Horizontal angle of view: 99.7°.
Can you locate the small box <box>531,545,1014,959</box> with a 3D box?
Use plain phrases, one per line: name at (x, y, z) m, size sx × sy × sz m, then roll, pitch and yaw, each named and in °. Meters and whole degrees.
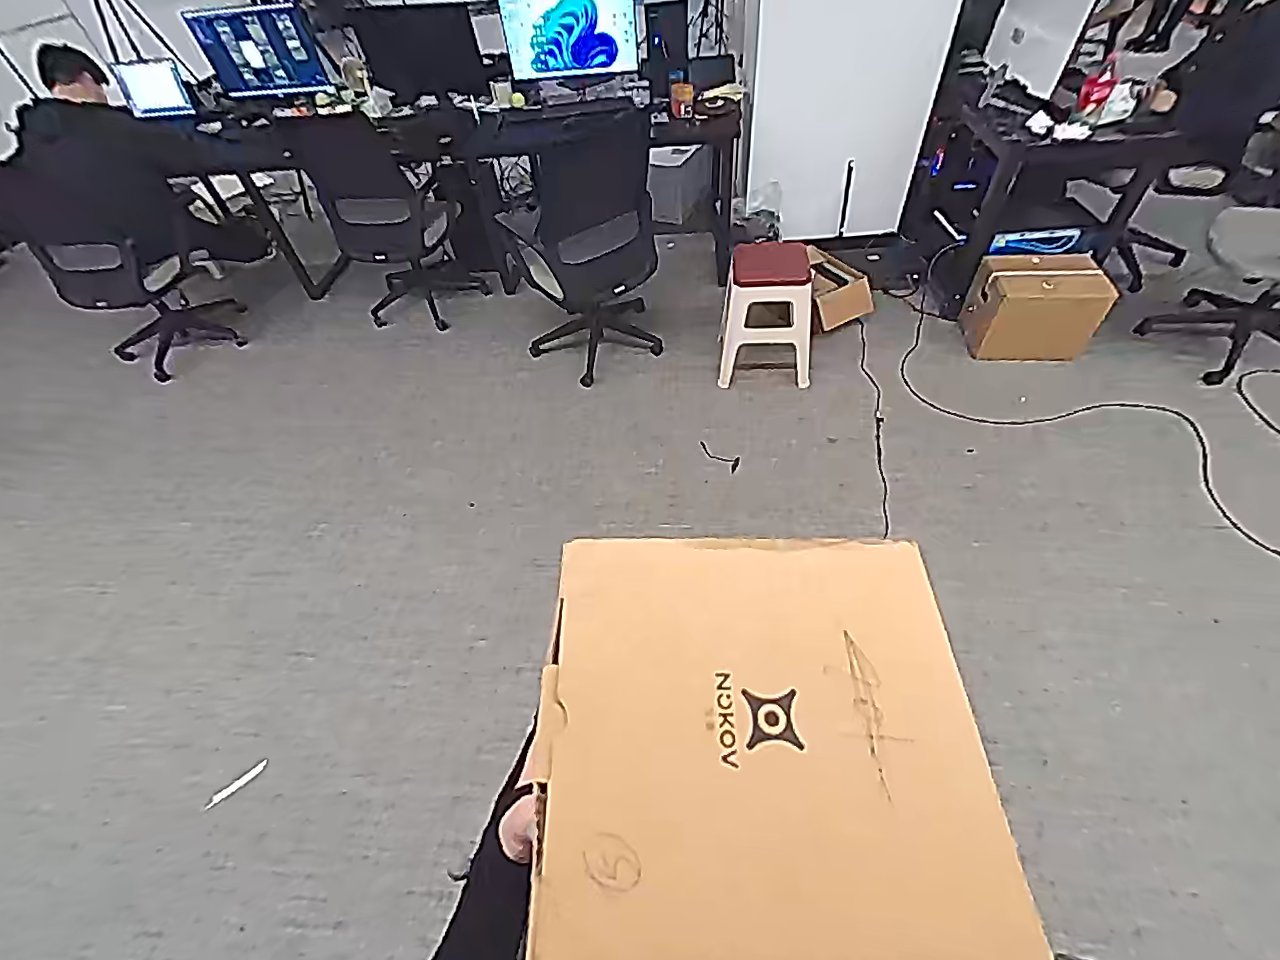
small box at (0.045, 0.147, 0.300) m, size 0.179 × 0.176 × 0.168 m, roll 0°, pitch 56°, yaw -2°
